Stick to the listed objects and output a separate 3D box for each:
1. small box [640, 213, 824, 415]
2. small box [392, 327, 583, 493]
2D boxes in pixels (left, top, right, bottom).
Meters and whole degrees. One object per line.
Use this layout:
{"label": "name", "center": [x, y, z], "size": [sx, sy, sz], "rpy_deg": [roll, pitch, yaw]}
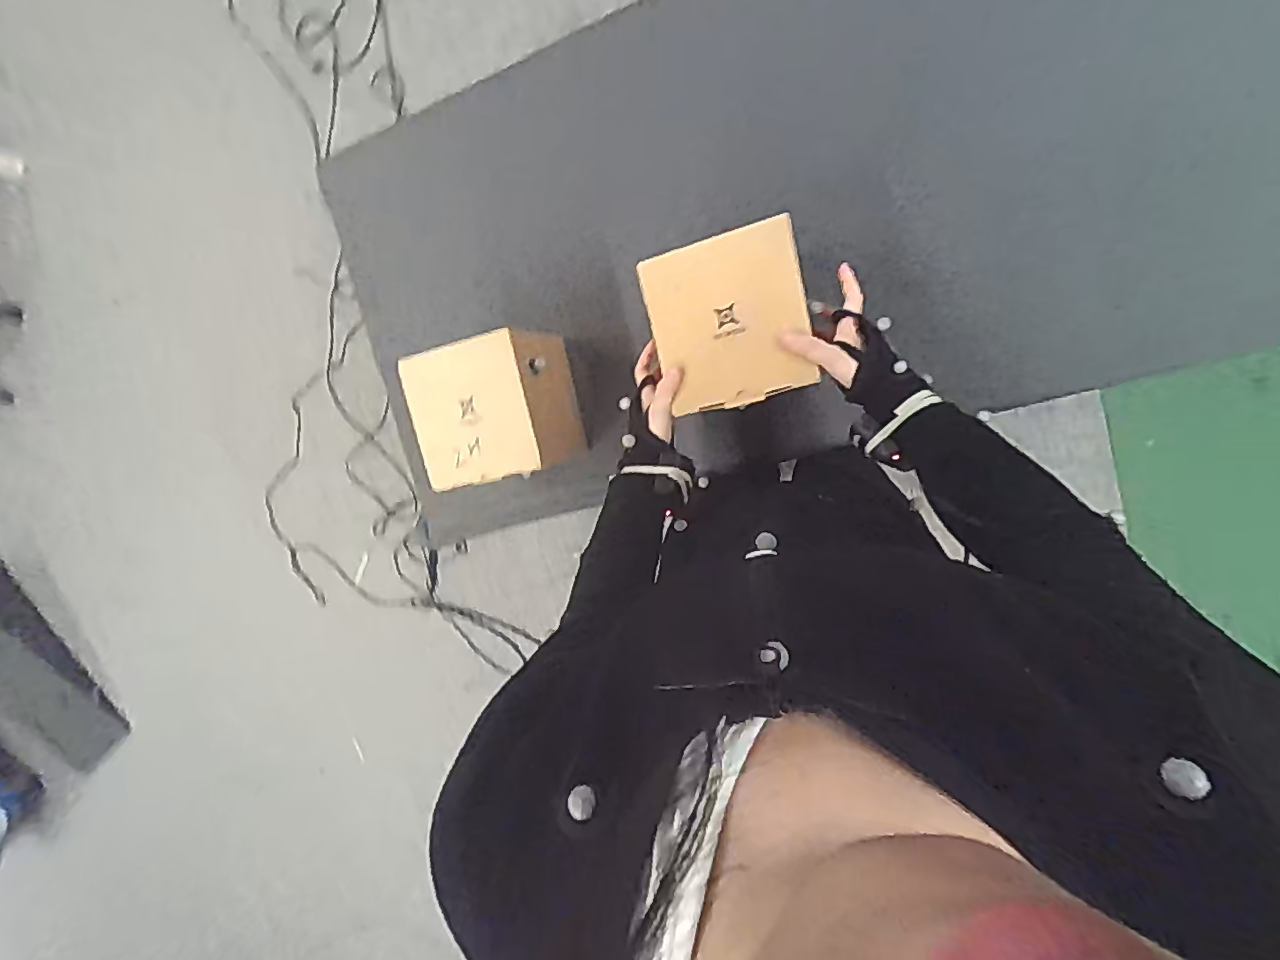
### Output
{"label": "small box", "center": [0.112, -0.184, 0.649], "size": [0.168, 0.176, 0.179], "rpy_deg": [-13, 97, 15]}
{"label": "small box", "center": [-0.195, -0.093, 0.737], "size": [0.168, 0.176, 0.179], "rpy_deg": [-11, 97, 16]}
